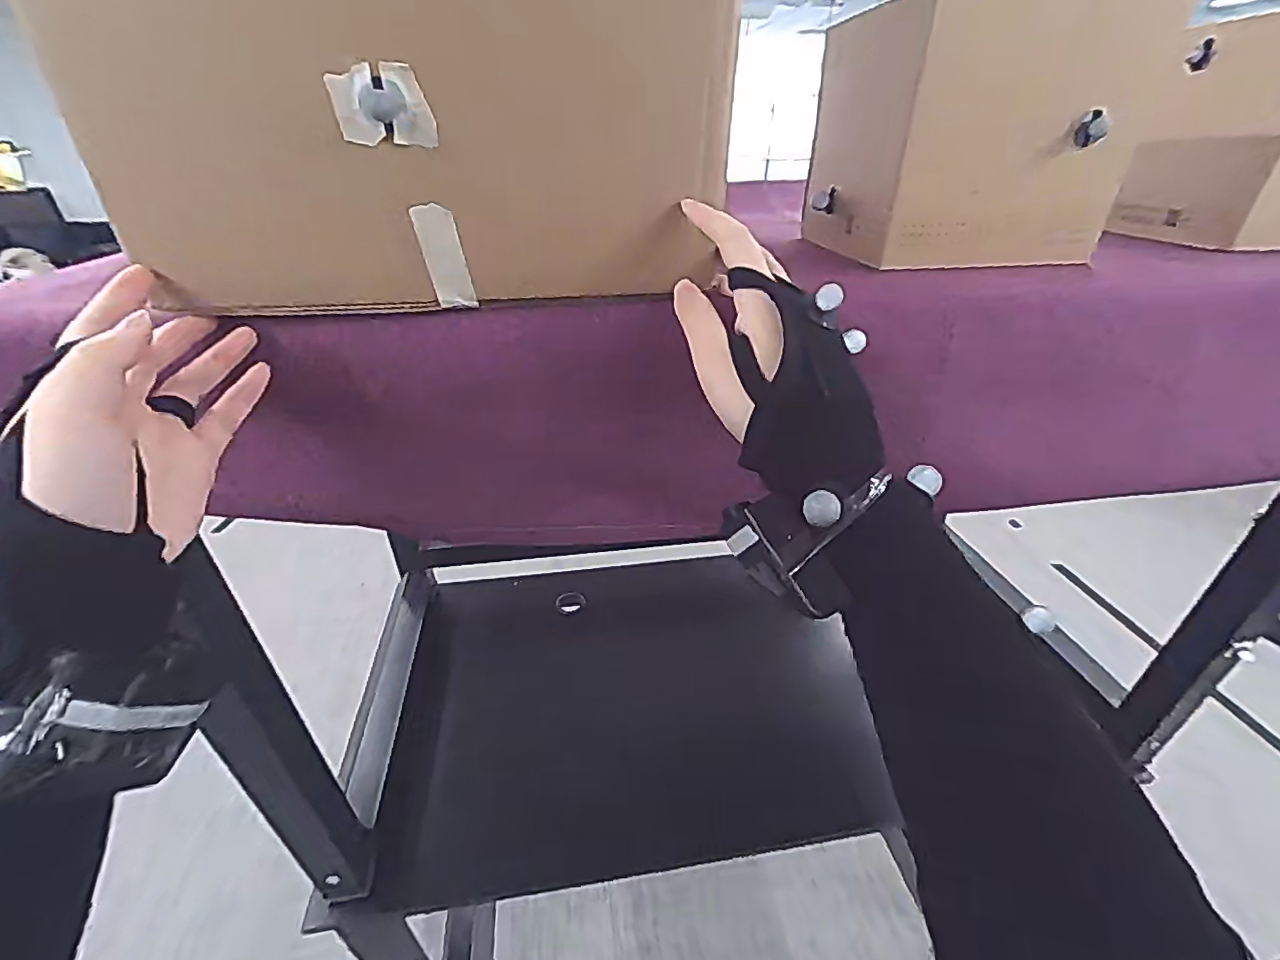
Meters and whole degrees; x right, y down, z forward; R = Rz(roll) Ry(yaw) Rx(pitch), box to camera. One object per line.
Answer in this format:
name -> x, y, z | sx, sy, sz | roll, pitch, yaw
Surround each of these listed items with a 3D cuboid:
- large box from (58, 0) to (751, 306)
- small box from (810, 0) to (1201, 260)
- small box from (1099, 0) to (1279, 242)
large box -> -0.133, -0.331, 0.392 | 0.320, 0.320, 0.408 | -5, 31, -10
small box -> 0.257, -0.280, 0.433 | 0.179, 0.176, 0.168 | -4, 31, -5
small box -> 0.575, -0.314, 0.478 | 0.179, 0.176, 0.168 | -2, 31, -3
